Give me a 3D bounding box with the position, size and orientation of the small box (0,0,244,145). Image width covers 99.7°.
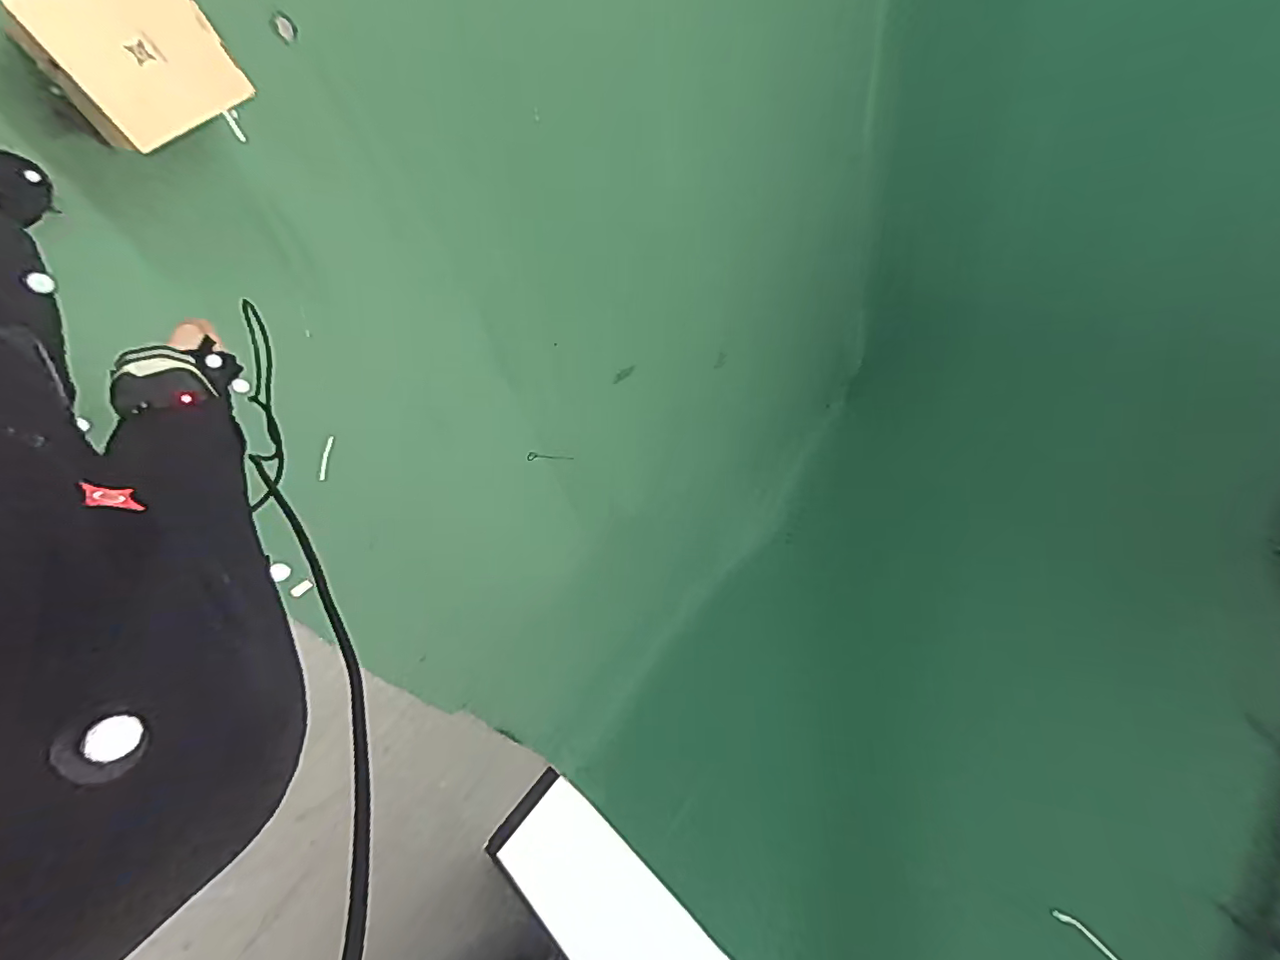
[{"bbox_3d":[-0.684,-0.571,0.715,0.179,0.176,0.168,-48,143,-18],"label":"small box"}]
